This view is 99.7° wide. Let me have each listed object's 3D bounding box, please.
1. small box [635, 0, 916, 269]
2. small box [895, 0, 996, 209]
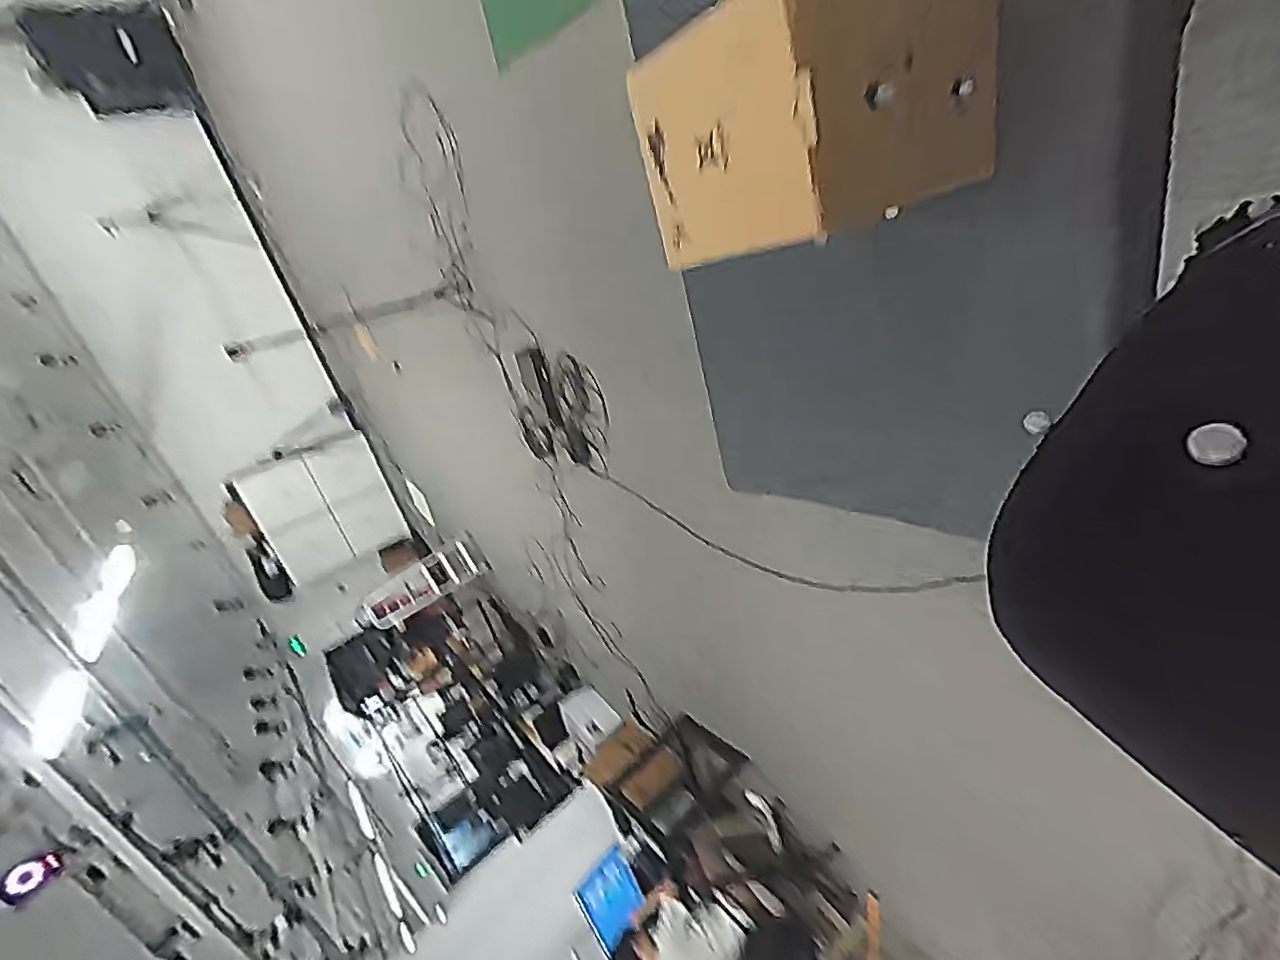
[{"bbox_3d":[0.129,-0.306,0.488,0.179,0.176,0.168,13,126,51],"label":"small box"},{"bbox_3d":[0.250,-0.381,0.568,0.168,0.176,0.179,15,128,50],"label":"small box"}]
